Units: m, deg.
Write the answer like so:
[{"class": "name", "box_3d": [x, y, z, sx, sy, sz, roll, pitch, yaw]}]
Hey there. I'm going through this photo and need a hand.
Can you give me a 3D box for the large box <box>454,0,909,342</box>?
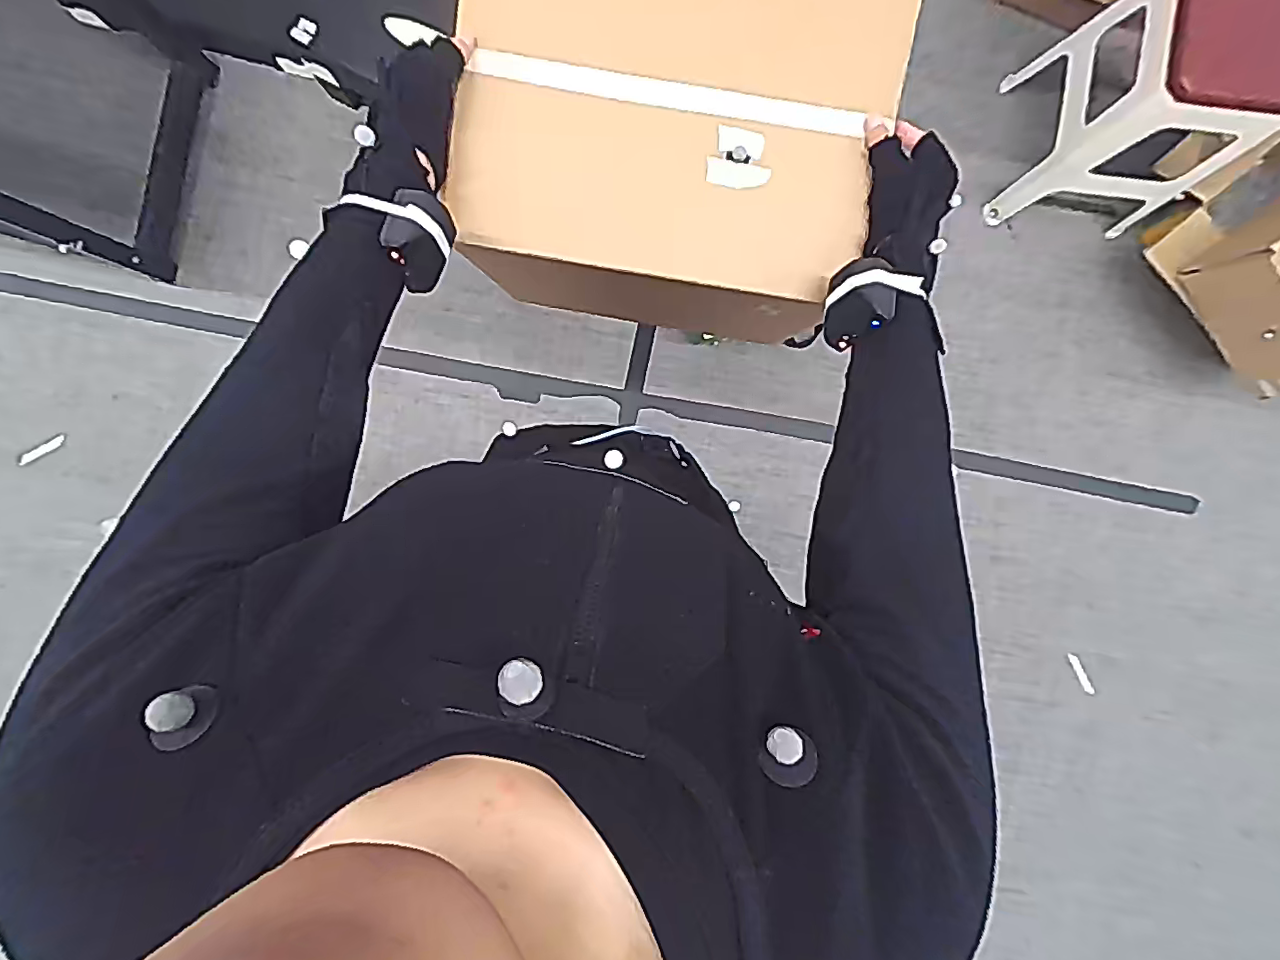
[{"class": "large box", "box_3d": [0.032, -0.368, 0.657, 0.408, 0.320, 0.320, 9, 98, -2]}]
